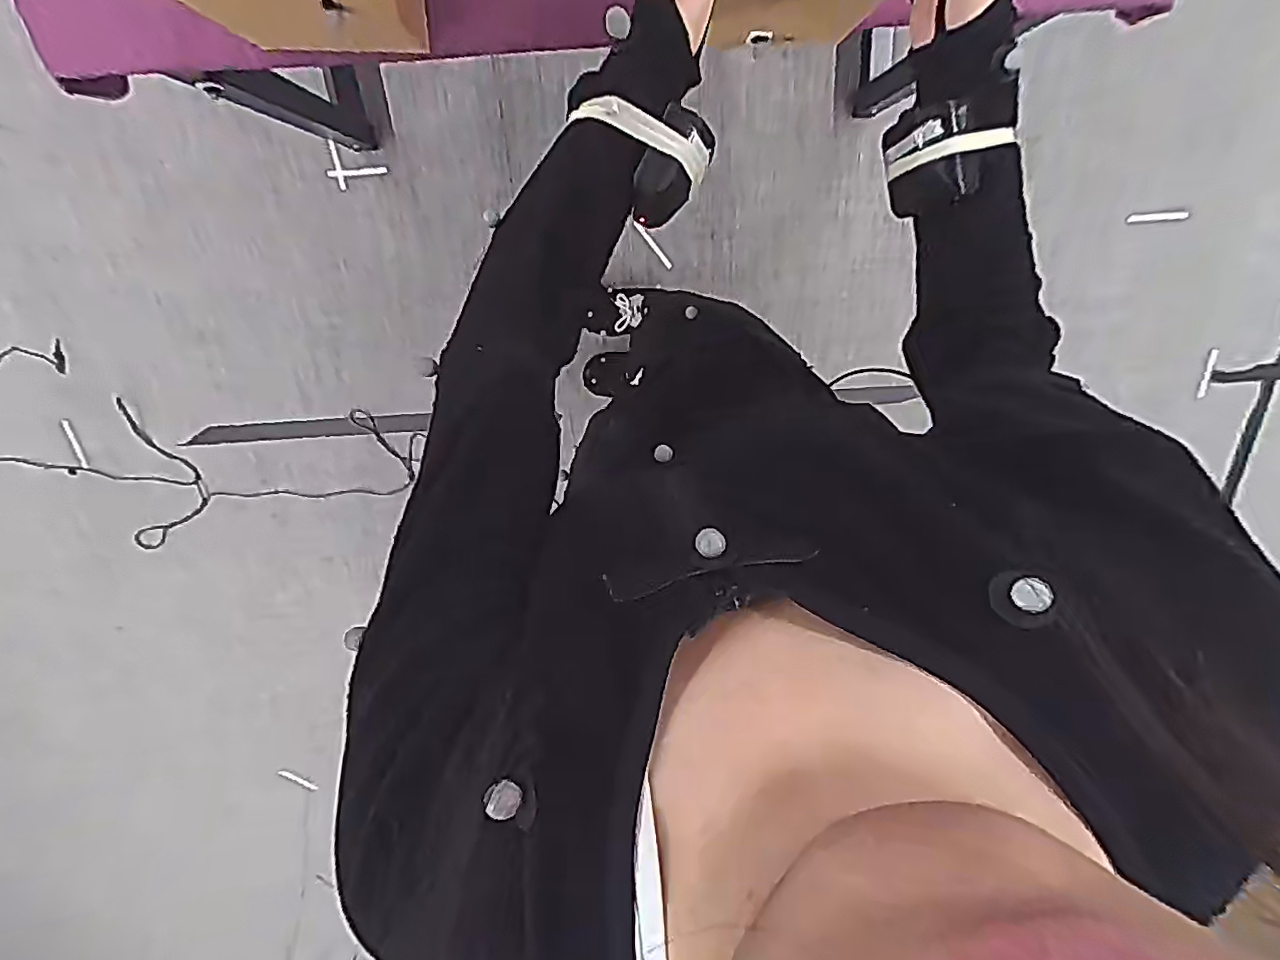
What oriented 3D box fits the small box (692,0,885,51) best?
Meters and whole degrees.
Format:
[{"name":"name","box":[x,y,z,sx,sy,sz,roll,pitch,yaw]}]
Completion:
[{"name":"small box","box":[0.135,-0.516,0.477,0.168,0.176,0.179,-3,114,0]}]

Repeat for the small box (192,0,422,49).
[{"name":"small box","box":[-0.301,-0.498,0.462,0.179,0.176,0.168,-1,113,-2]}]
